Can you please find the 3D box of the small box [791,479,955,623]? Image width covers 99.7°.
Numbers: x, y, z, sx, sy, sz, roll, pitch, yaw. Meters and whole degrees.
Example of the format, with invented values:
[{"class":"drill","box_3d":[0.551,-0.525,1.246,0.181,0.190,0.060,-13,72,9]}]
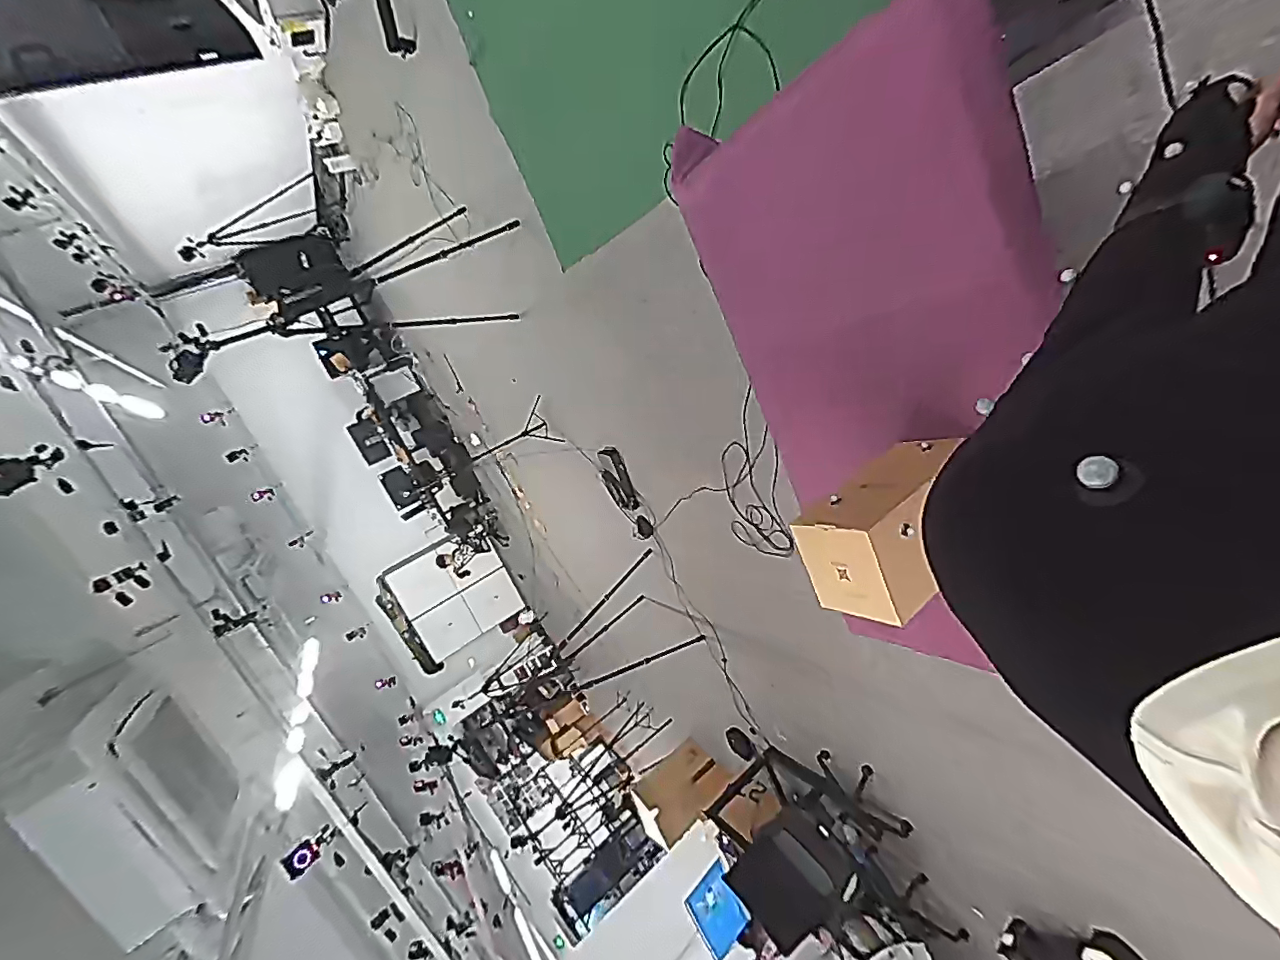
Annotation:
[{"class":"small box","box_3d":[0.396,0.108,0.918,0.168,0.176,0.179,1,118,62]}]
